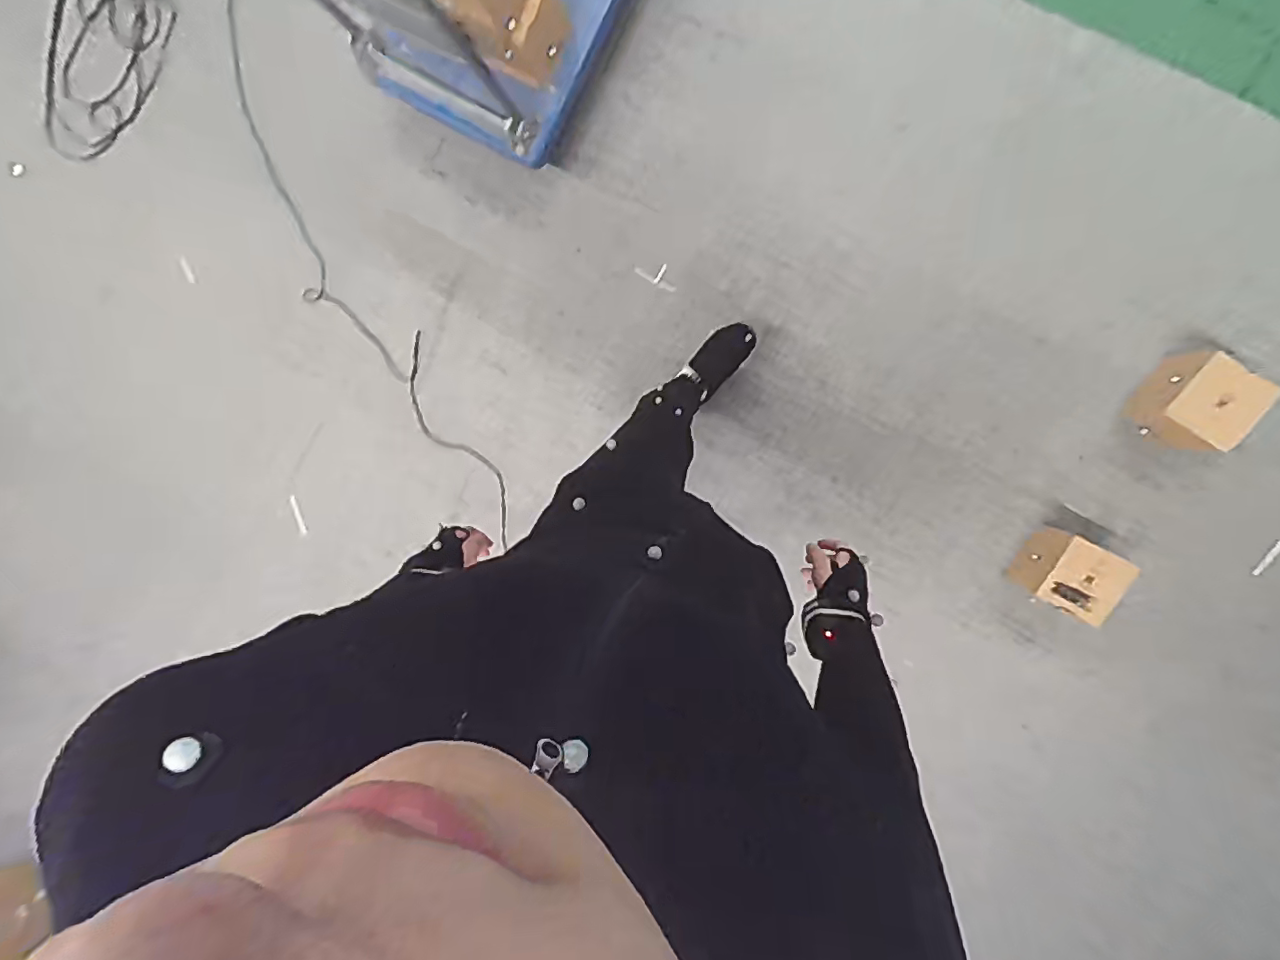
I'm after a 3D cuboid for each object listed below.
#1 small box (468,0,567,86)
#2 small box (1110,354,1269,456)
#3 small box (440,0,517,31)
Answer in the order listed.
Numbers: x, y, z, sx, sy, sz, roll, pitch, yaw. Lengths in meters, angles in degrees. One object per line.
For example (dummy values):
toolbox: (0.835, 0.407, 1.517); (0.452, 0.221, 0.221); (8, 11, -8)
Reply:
small box: (-0.299, -1.088, 1.275); (0.179, 0.176, 0.168); (-29, 93, 11)
small box: (1.310, -0.180, 1.308); (0.168, 0.176, 0.179); (36, 100, 4)
small box: (-0.346, -1.080, 1.107); (0.179, 0.176, 0.168); (31, 99, 5)
